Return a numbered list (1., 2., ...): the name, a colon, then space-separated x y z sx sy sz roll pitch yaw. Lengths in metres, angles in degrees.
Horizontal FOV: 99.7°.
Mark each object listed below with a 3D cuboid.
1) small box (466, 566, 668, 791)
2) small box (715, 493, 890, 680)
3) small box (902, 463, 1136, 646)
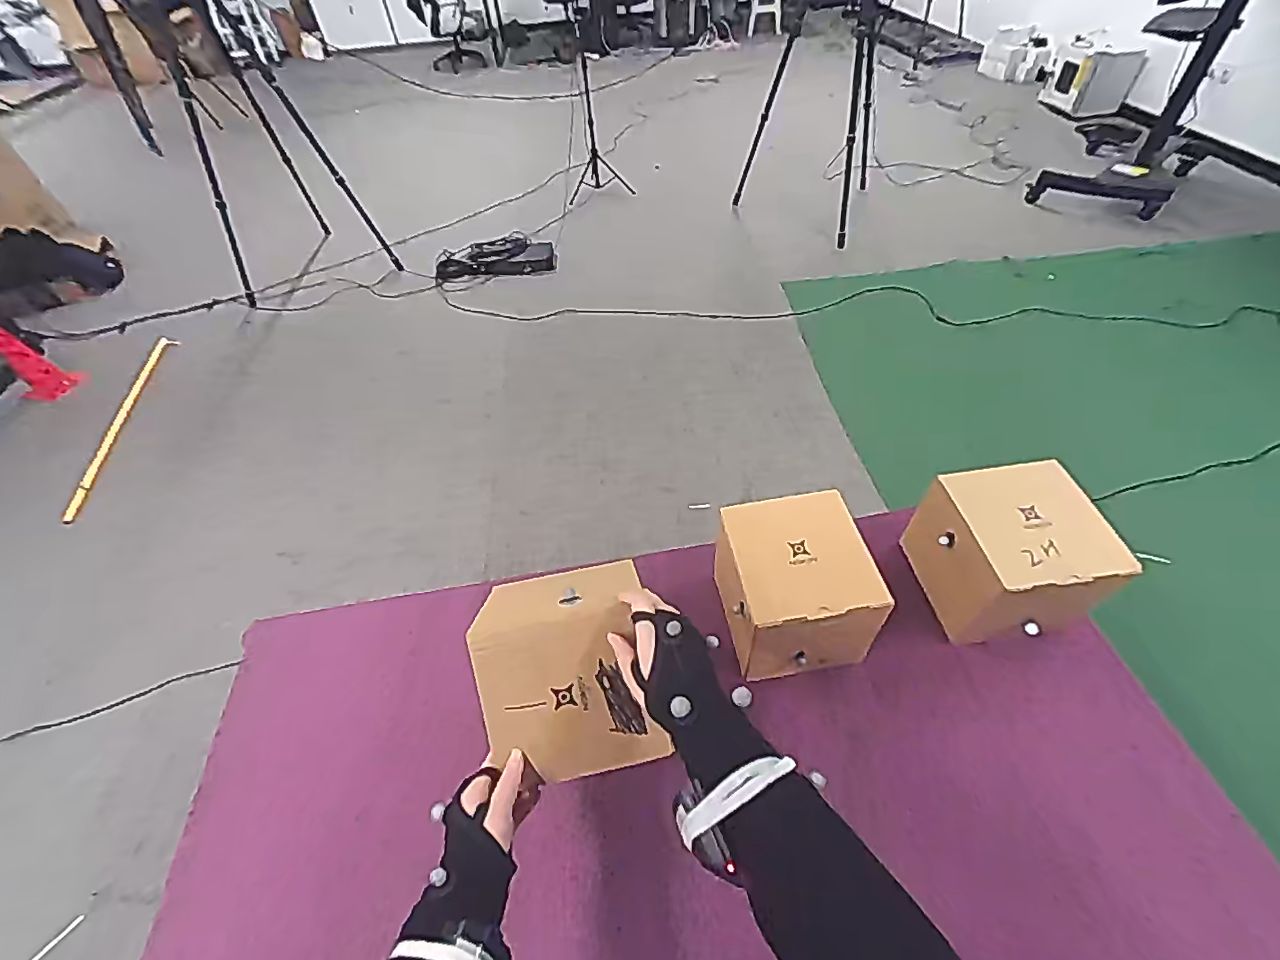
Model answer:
1. small box: -0.076 0.205 0.609 0.179 0.168 0.176 -11 5 -4
2. small box: 0.200 0.145 0.732 0.168 0.176 0.179 -9 50 -3
3. small box: 0.486 0.103 0.734 0.168 0.176 0.179 -8 51 0
